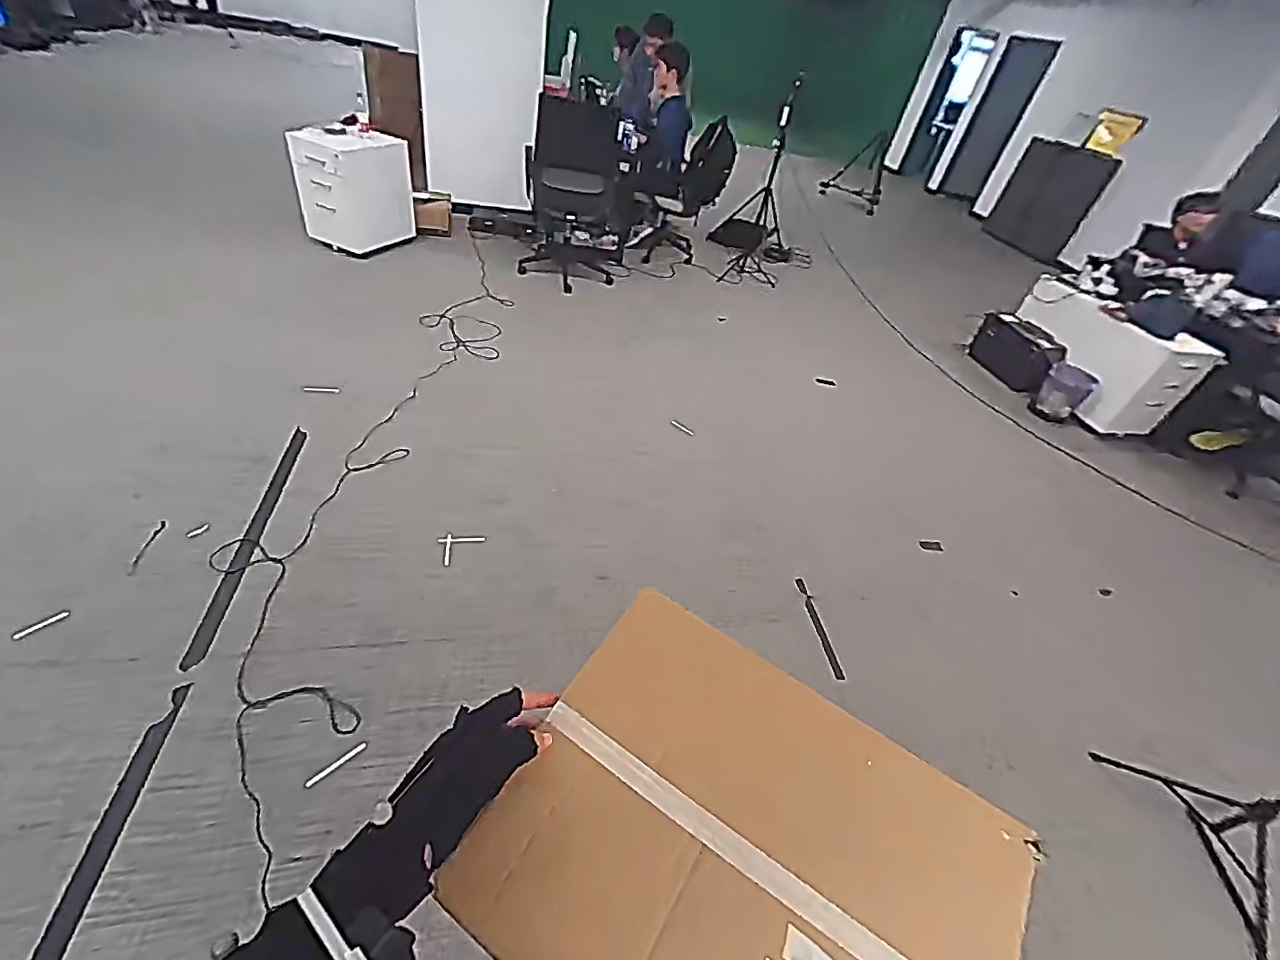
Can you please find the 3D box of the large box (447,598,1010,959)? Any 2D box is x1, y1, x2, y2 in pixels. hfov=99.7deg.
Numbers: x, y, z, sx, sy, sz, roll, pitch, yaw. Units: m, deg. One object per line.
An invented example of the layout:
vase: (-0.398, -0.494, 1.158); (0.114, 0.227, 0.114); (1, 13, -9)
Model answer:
large box: (0.075, 0.406, 0.577); (0.408, 0.320, 0.320); (30, 56, 16)
